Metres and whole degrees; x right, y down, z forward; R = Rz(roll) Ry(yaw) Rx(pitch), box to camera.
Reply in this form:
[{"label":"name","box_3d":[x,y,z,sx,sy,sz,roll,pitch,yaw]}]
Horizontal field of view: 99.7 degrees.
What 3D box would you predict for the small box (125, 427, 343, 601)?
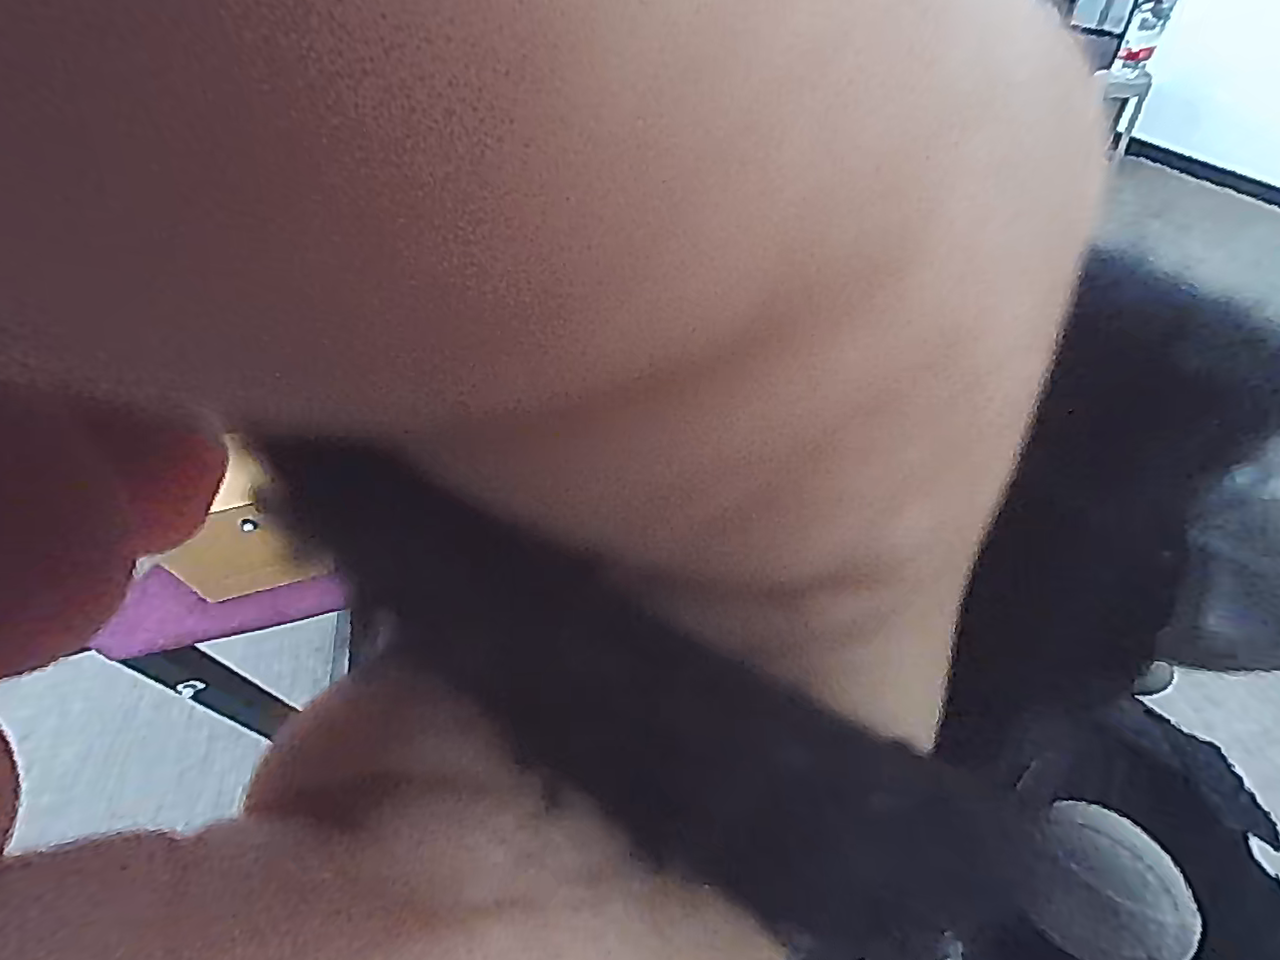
[{"label":"small box","box_3d":[-0.571,0.053,0.792,0.179,0.176,0.168,-15,47,-8]}]
